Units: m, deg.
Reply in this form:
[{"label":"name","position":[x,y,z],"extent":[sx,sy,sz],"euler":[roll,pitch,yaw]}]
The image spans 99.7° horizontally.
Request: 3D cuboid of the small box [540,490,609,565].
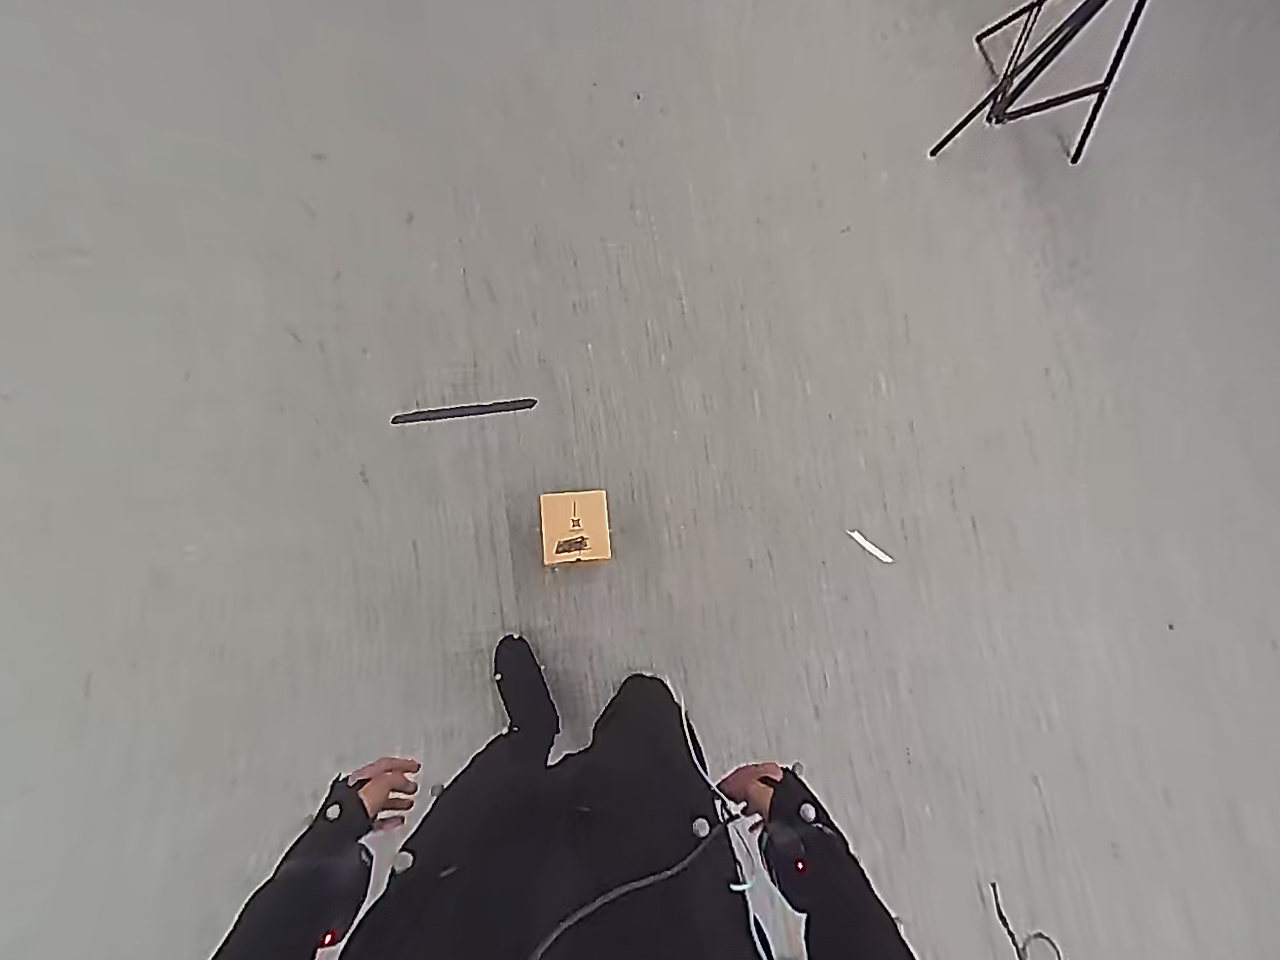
[{"label":"small box","position":[-0.172,0.129,1.409],"extent":[0.168,0.176,0.179],"euler":[-3,78,-10]}]
